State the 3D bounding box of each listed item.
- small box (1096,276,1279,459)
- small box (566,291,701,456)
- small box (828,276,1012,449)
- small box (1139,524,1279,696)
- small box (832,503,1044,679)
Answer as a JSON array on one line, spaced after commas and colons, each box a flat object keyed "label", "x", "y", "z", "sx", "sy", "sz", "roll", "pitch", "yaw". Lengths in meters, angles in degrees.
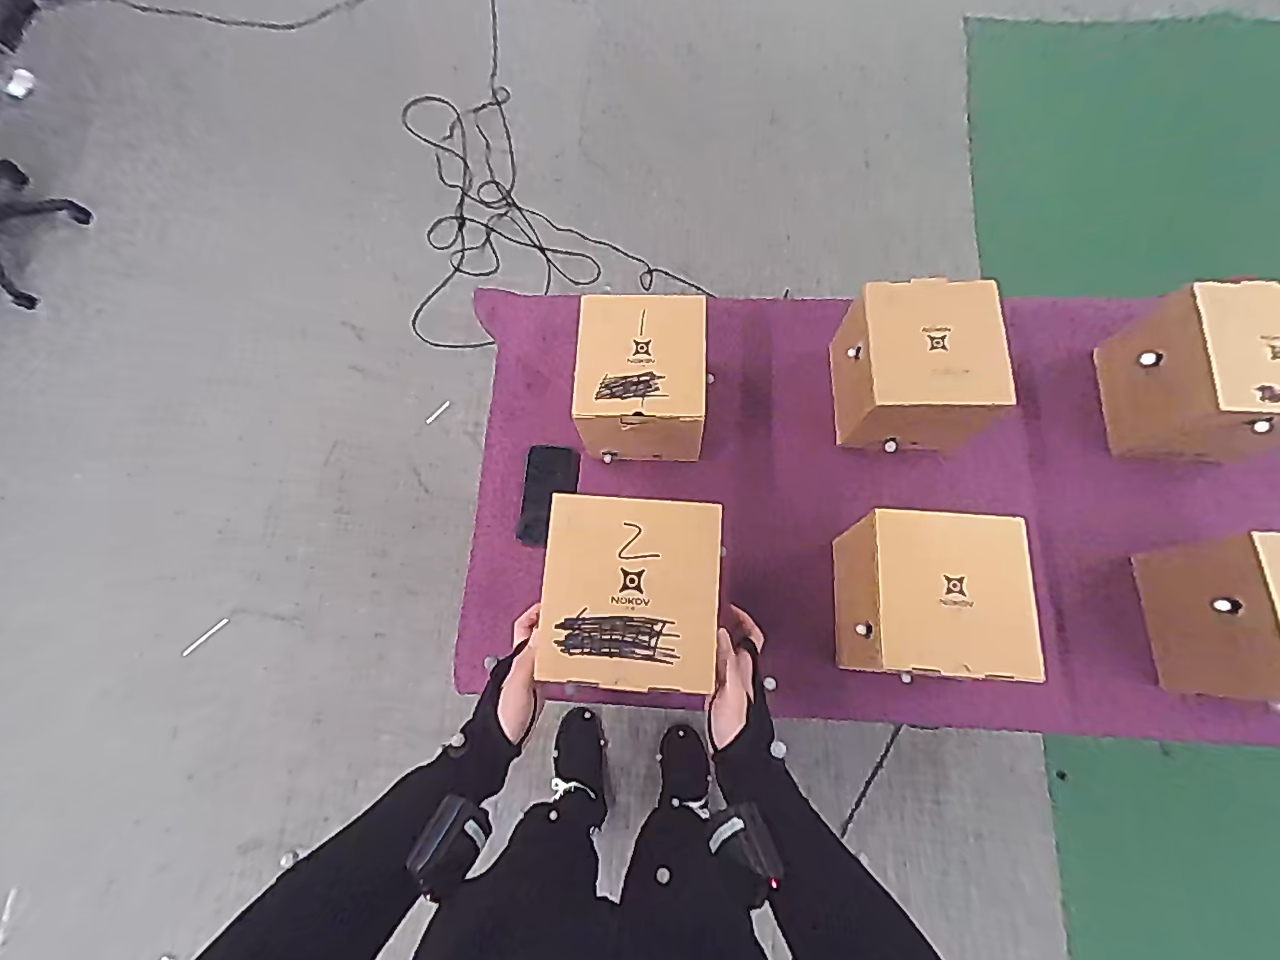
[{"label": "small box", "x": 0.751, "y": -0.141, "z": 0.713, "sx": 0.168, "sy": 0.176, "sz": 0.179, "roll": 3, "pitch": 73, "yaw": 5}, {"label": "small box", "x": -0.001, "y": -0.139, "z": 0.753, "sx": 0.168, "sy": 0.176, "sz": 0.179, "roll": 1, "pitch": 73, "yaw": 3}, {"label": "small box", "x": 0.364, "y": -0.154, "z": 0.740, "sx": 0.168, "sy": 0.176, "sz": 0.179, "roll": 1, "pitch": 74, "yaw": 4}, {"label": "small box", "x": 0.733, "y": 0.155, "z": 0.621, "sx": 0.168, "sy": 0.176, "sz": 0.179, "roll": 1, "pitch": 74, "yaw": 5}, {"label": "small box", "x": 0.337, "y": 0.138, "z": 0.652, "sx": 0.168, "sy": 0.176, "sz": 0.179, "roll": 4, "pitch": 73, "yaw": 4}]
